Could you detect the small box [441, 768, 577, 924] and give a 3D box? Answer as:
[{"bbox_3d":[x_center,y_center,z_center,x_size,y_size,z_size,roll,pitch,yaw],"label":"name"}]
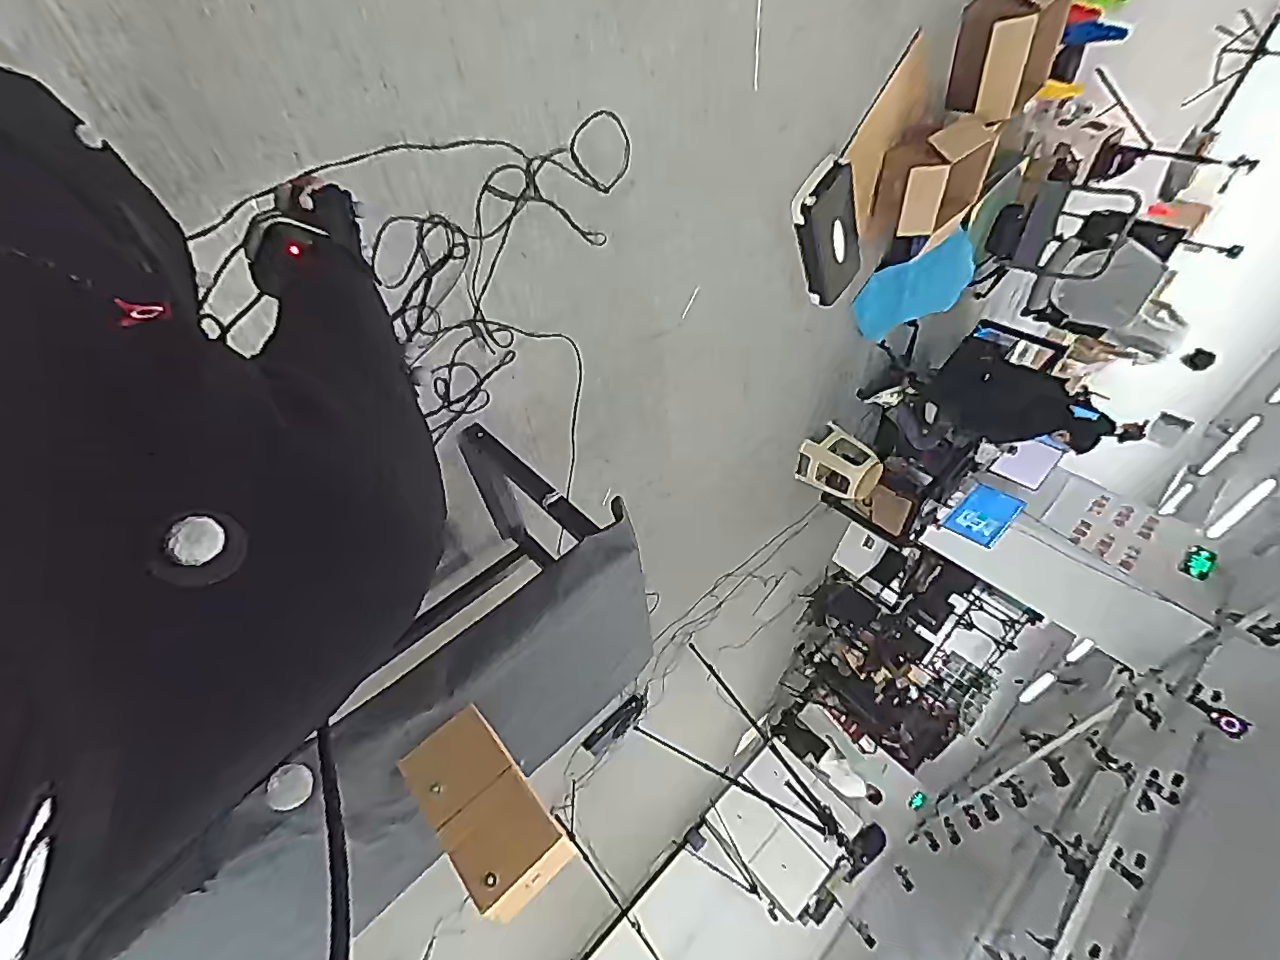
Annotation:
[{"bbox_3d":[-0.249,0.698,1.042,0.179,0.176,0.168,-35,144,-25],"label":"small box"}]
